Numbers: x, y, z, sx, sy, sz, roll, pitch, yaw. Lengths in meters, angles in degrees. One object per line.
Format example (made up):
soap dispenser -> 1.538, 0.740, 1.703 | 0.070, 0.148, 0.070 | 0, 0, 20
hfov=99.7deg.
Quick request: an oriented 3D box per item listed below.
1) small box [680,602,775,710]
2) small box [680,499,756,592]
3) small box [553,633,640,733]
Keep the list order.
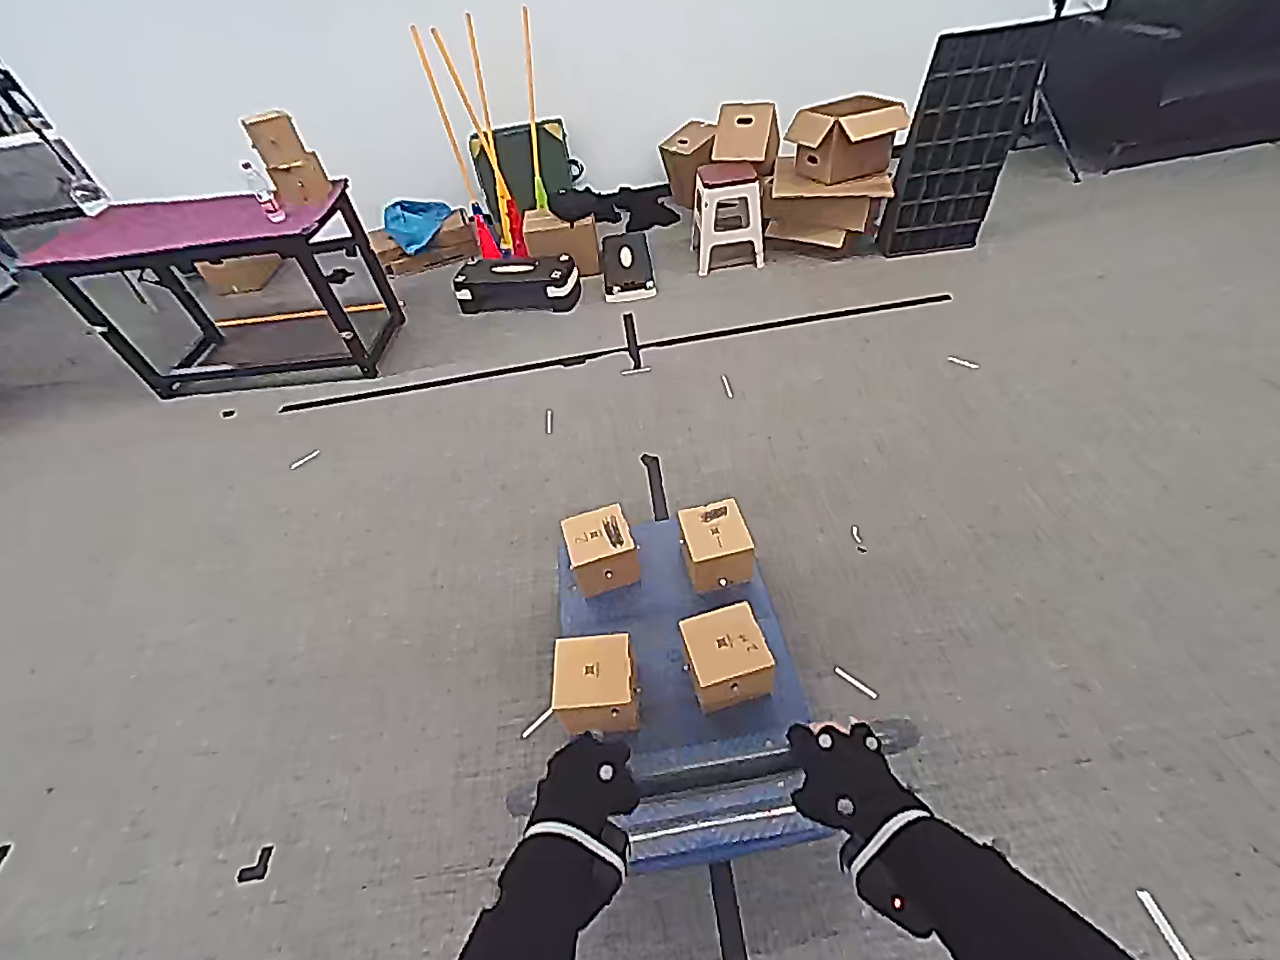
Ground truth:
small box -> 0.205, 0.421, 1.283 | 0.179, 0.176, 0.168 | -15, 48, -5
small box -> 0.211, 0.183, 1.497 | 0.168, 0.176, 0.179 | -13, 49, -3
small box -> -0.097, 0.482, 1.276 | 0.179, 0.176, 0.168 | -5, 47, 2
